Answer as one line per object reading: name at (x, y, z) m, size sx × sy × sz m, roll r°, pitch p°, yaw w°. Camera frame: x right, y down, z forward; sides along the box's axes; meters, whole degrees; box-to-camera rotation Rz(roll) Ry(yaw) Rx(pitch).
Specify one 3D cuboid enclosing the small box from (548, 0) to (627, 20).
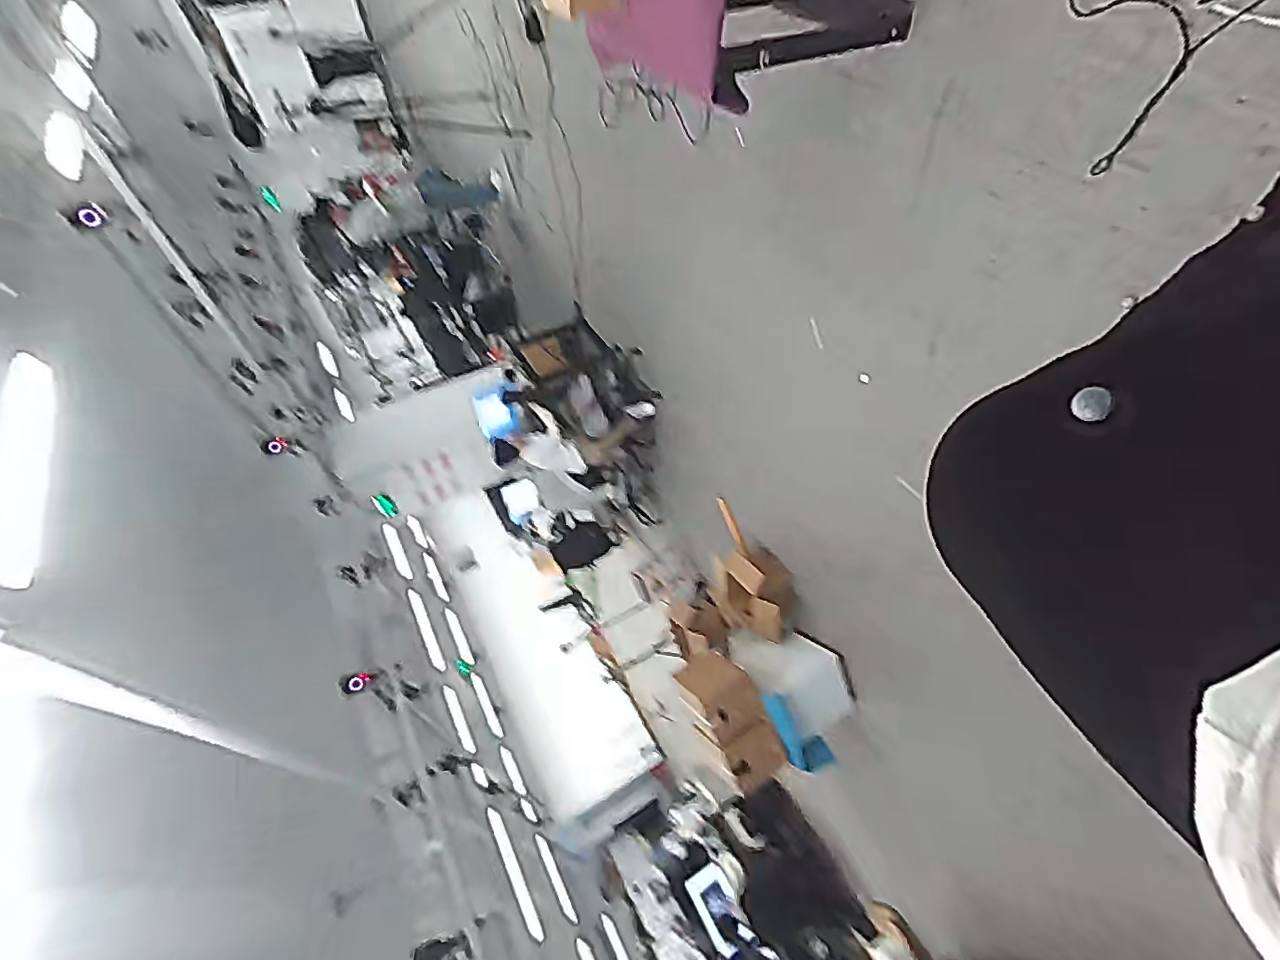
small box at (-0.137, -1.324, 1.397) m, size 0.179 × 0.176 × 0.168 m, roll 54°, pitch 158°, yaw 33°
